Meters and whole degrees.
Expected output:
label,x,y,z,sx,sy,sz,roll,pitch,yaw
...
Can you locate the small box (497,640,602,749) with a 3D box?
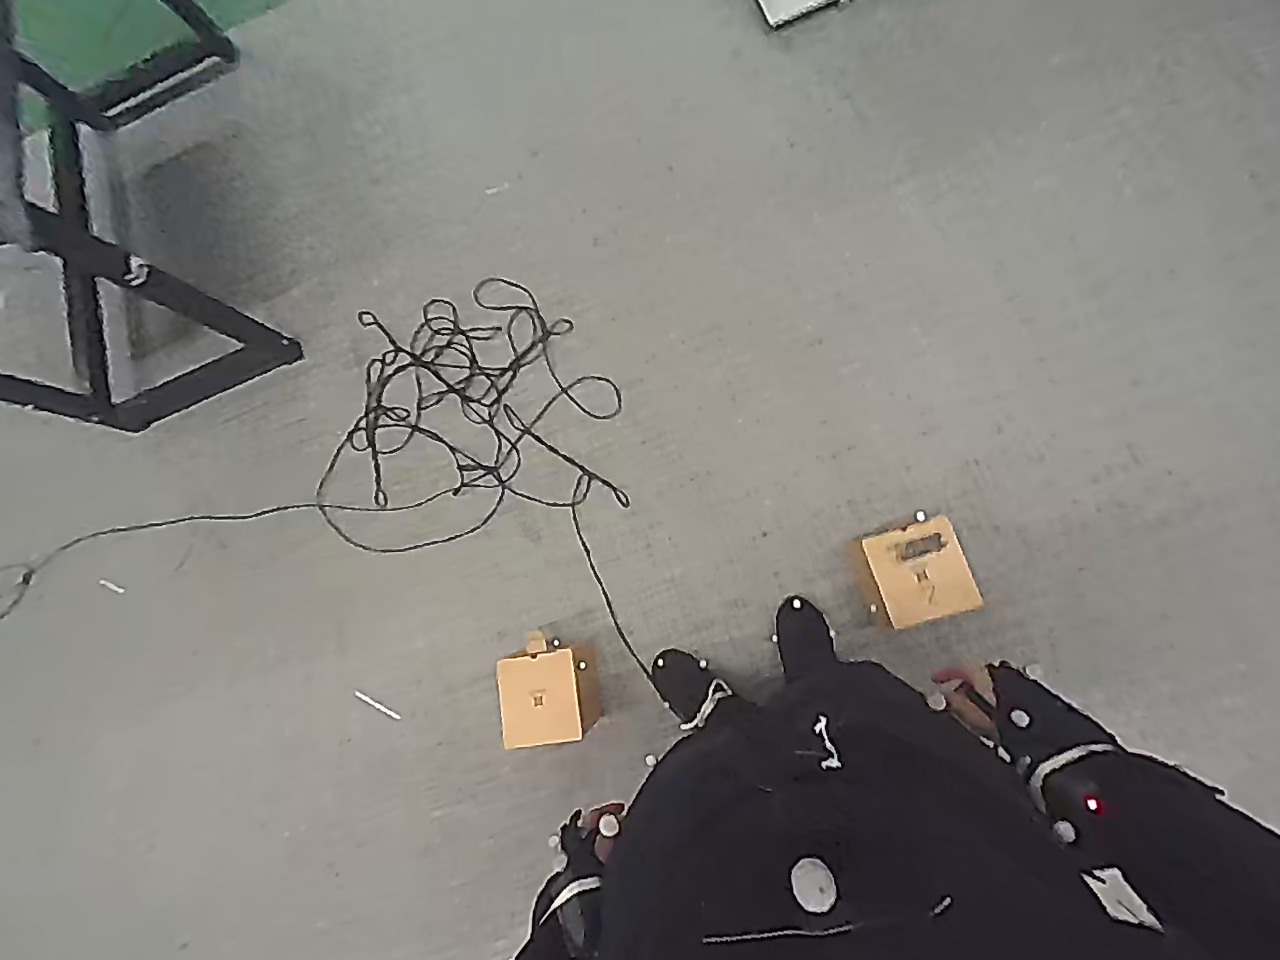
label,x,y,z,sx,sy,sz,roll,pitch,yaw
small box,-0.187,0.451,1.157,0.168,0.176,0.179,-11,77,8
